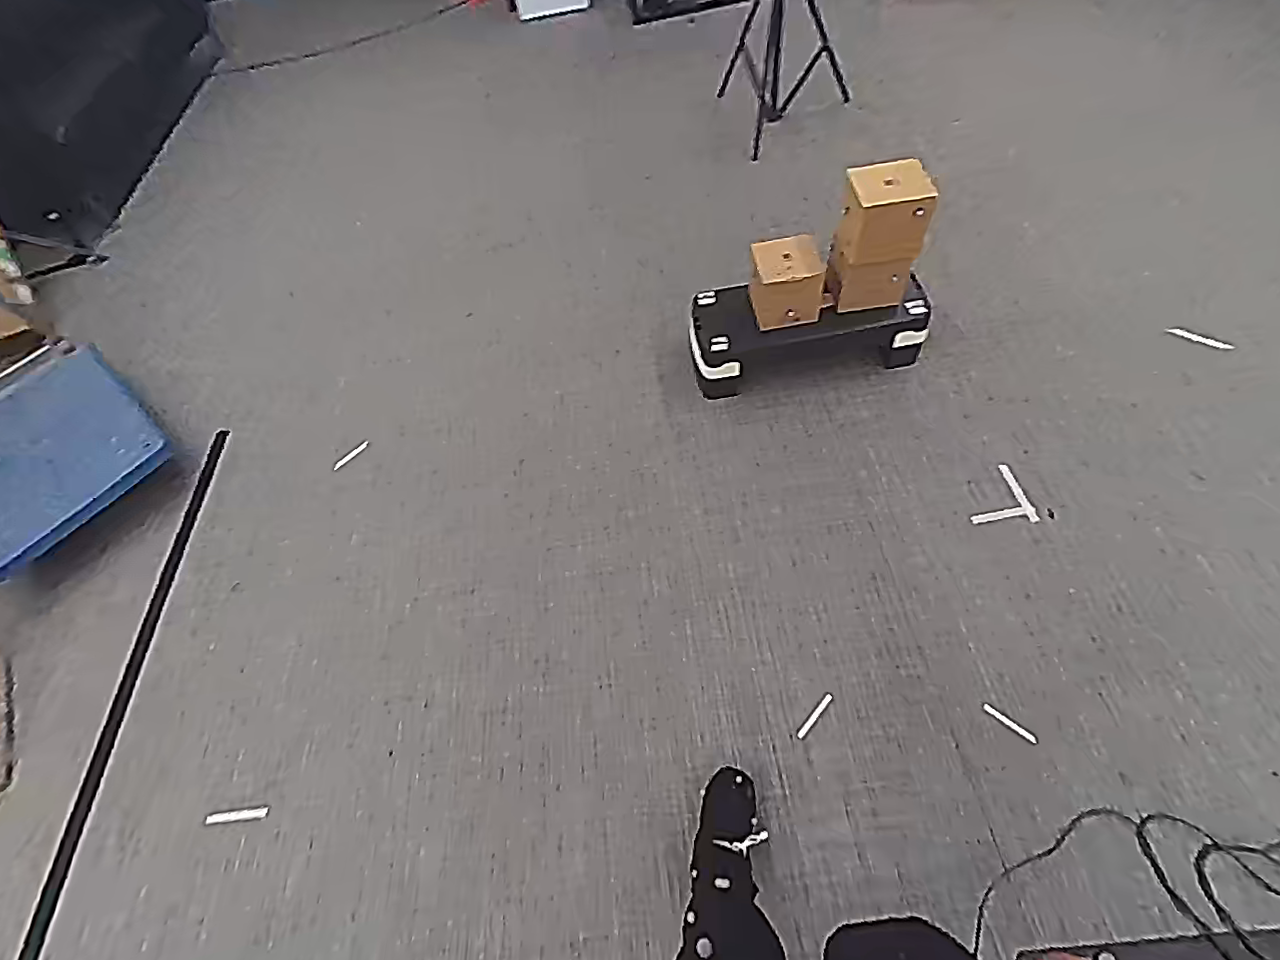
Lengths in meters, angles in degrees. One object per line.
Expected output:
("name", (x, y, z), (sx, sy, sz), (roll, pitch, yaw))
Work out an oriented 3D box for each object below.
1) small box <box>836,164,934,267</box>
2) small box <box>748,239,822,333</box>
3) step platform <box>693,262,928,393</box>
("small box", (0.614, -0.669, 1.384), (0.179, 0.176, 0.168), (-7, 58, 4))
("small box", (0.405, -0.548, 1.538), (0.168, 0.176, 0.179), (-9, 58, 5))
("step platform", (0.509, -0.487, 1.688), (0.684, 0.204, 0.286), (-10, 57, 4))
